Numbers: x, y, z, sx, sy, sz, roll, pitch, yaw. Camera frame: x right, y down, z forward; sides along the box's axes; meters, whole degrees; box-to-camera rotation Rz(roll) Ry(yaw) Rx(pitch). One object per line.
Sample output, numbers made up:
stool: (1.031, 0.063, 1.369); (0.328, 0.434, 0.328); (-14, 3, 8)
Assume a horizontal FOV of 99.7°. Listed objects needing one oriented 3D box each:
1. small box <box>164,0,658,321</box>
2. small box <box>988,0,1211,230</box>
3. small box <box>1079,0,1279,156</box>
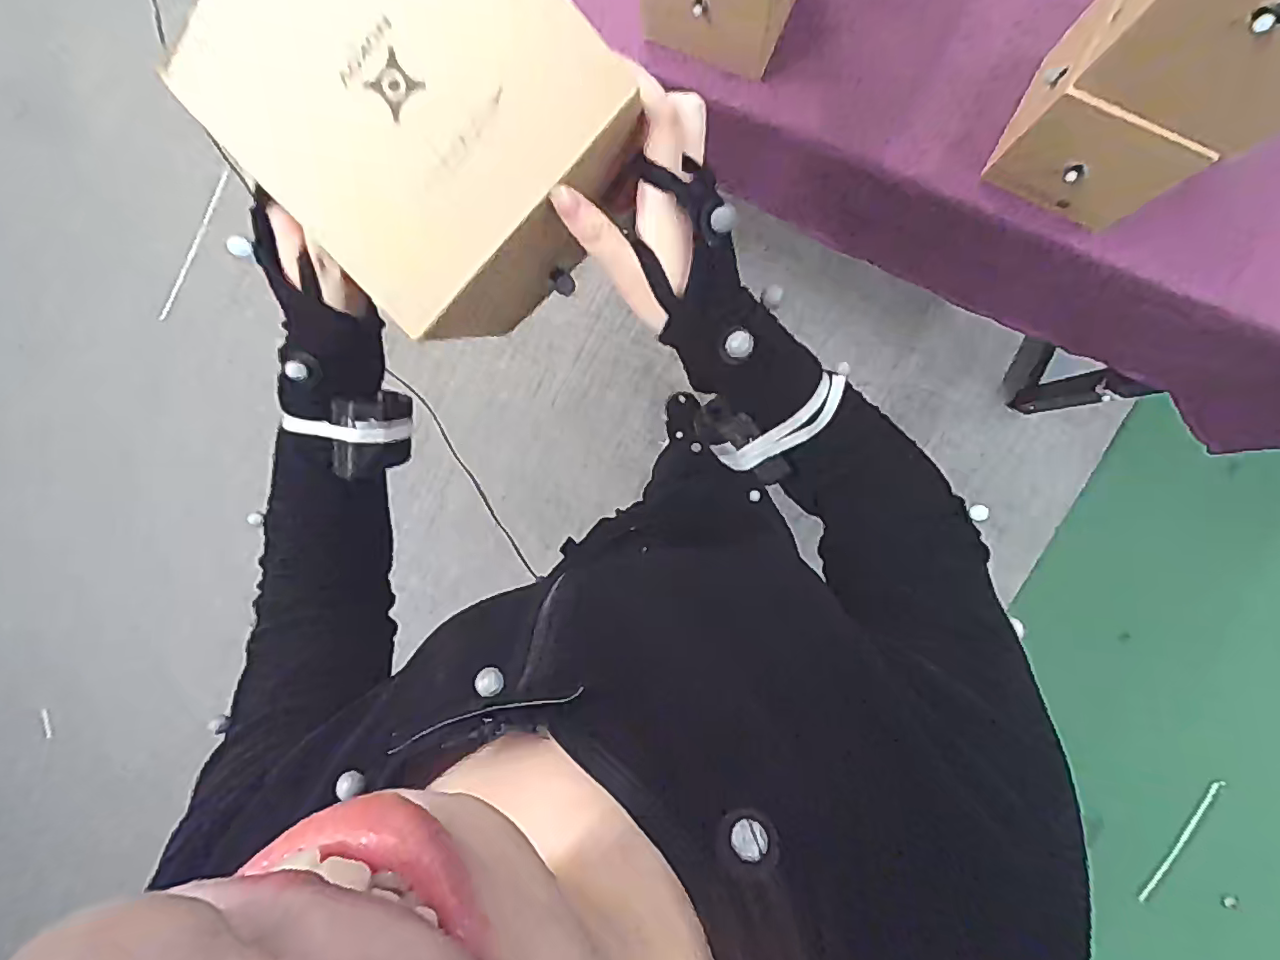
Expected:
small box: (-0.105, -0.214, 0.328); (0.168, 0.176, 0.179); (-39, 100, 14)
small box: (0.551, -0.430, 0.630); (0.168, 0.176, 0.179); (29, 93, 3)
small box: (0.546, -0.425, 0.466); (0.179, 0.176, 0.168); (29, 94, 3)
